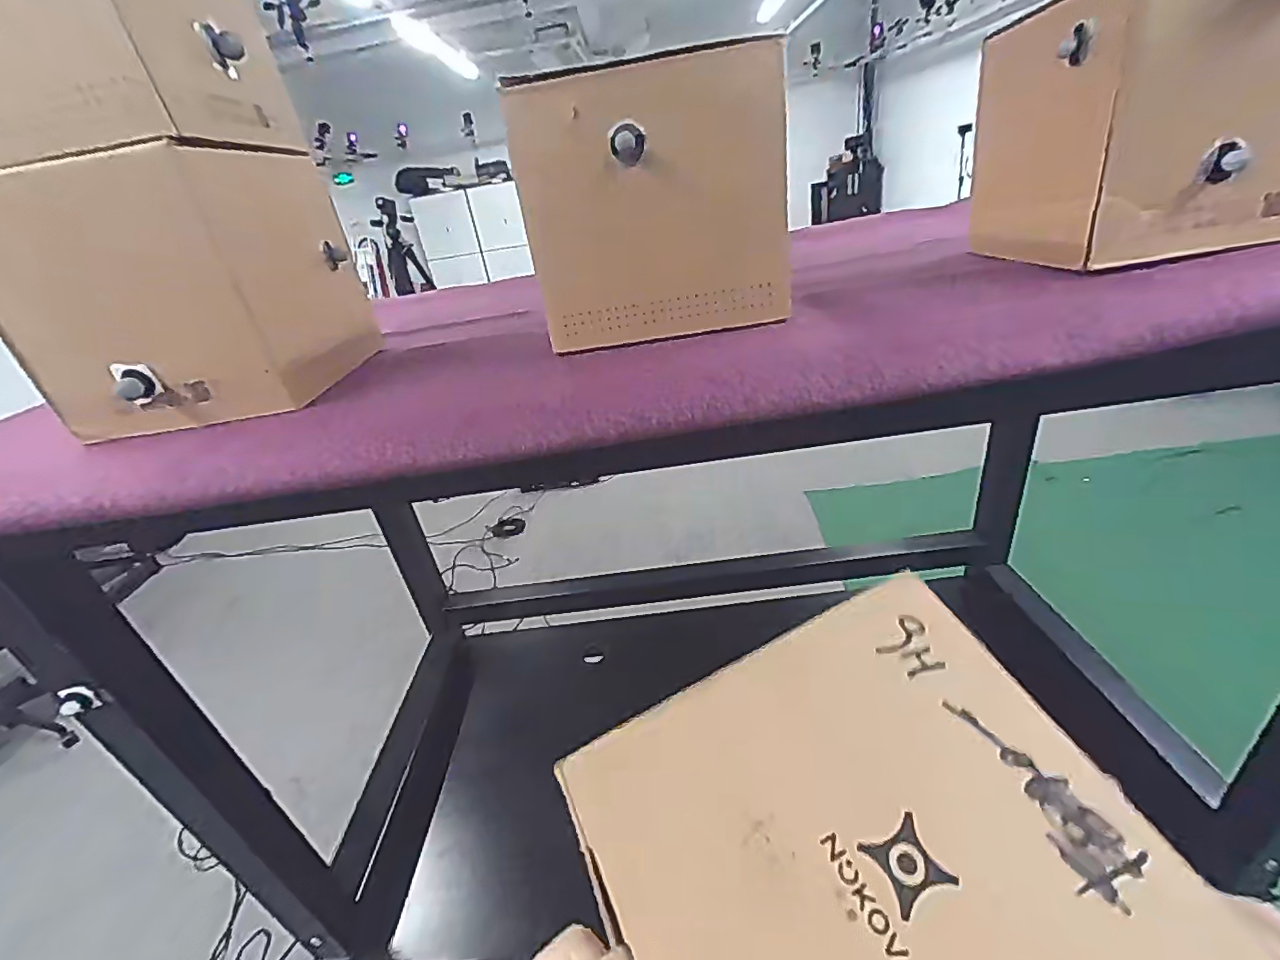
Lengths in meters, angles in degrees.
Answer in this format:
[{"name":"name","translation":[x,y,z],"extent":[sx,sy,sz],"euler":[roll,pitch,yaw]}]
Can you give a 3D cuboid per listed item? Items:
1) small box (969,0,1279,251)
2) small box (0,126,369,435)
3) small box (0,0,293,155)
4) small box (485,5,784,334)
[{"name":"small box","translation":[0.362,-0.267,0.385],"extent":[0.168,0.176,0.179],"euler":[-8,27,8]},{"name":"small box","translation":[-0.338,-0.151,0.413],"extent":[0.168,0.176,0.179],"euler":[-11,30,1]},{"name":"small box","translation":[-0.370,-0.293,0.335],"extent":[0.179,0.176,0.168],"euler":[-11,29,1]},{"name":"small box","translation":[0.006,-0.219,0.419],"extent":[0.179,0.176,0.168],"euler":[-7,27,5]}]
